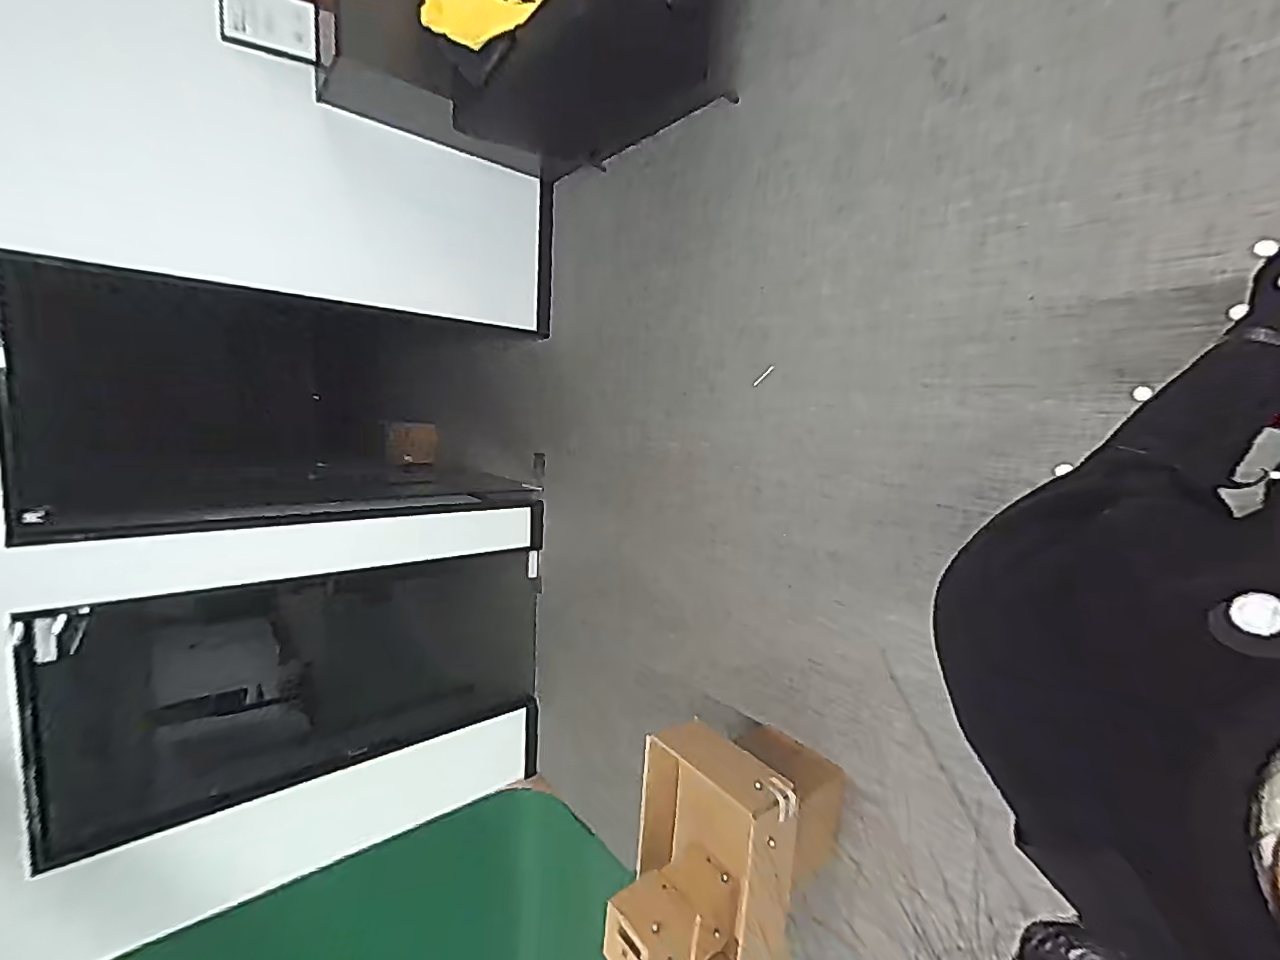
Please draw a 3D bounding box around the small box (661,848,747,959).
[{"bbox_3d":[0.181,1.184,1.510,0.168,0.176,0.179,15,103,50],"label":"small box"}]
